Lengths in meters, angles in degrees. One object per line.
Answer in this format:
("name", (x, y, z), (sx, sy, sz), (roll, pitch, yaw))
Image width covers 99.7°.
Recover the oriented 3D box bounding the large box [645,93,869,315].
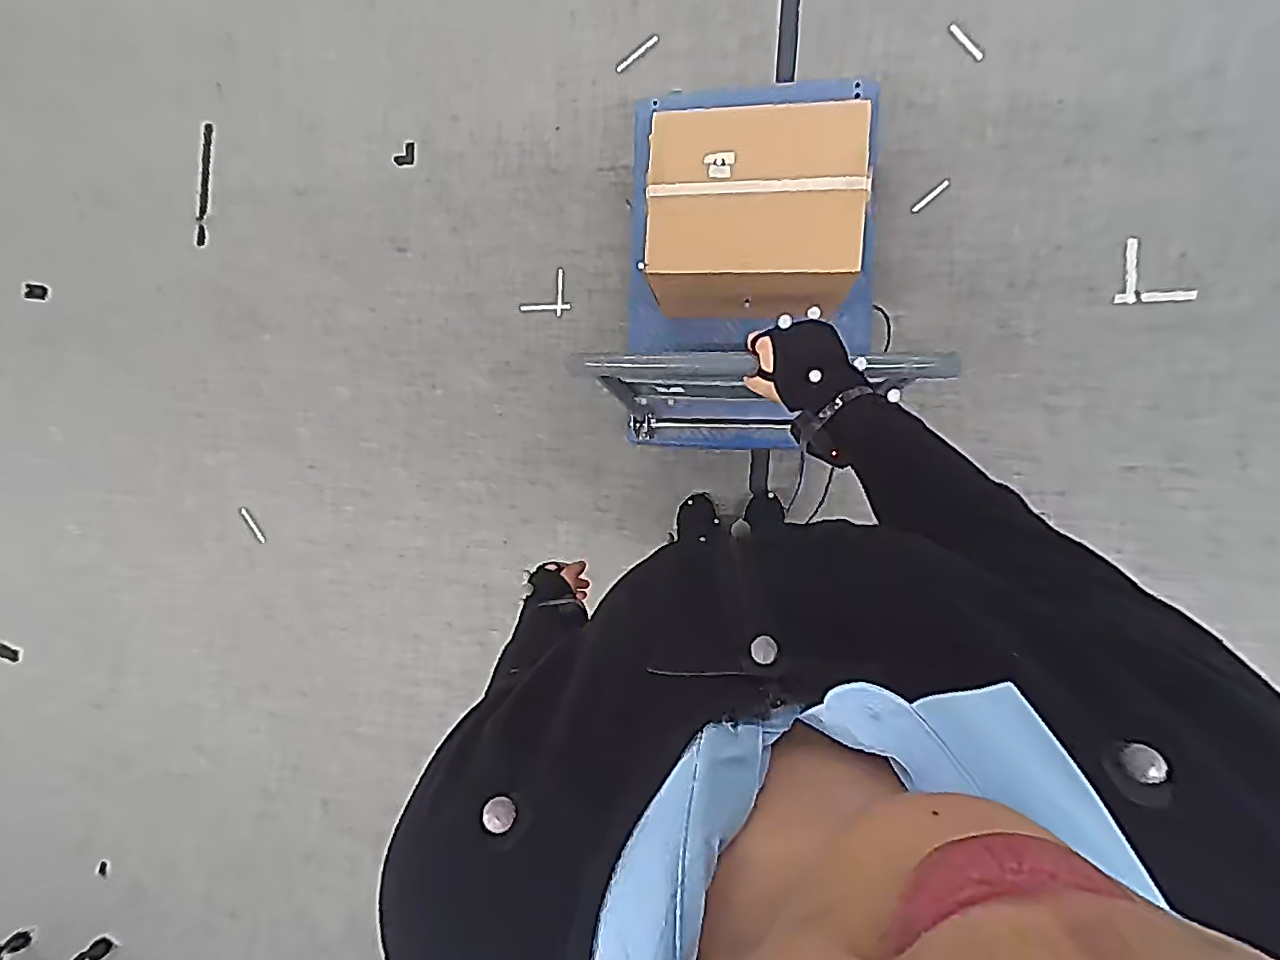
("large box", (0.240, -0.547, 1.147), (0.408, 0.320, 0.320), (3, 90, 11))
